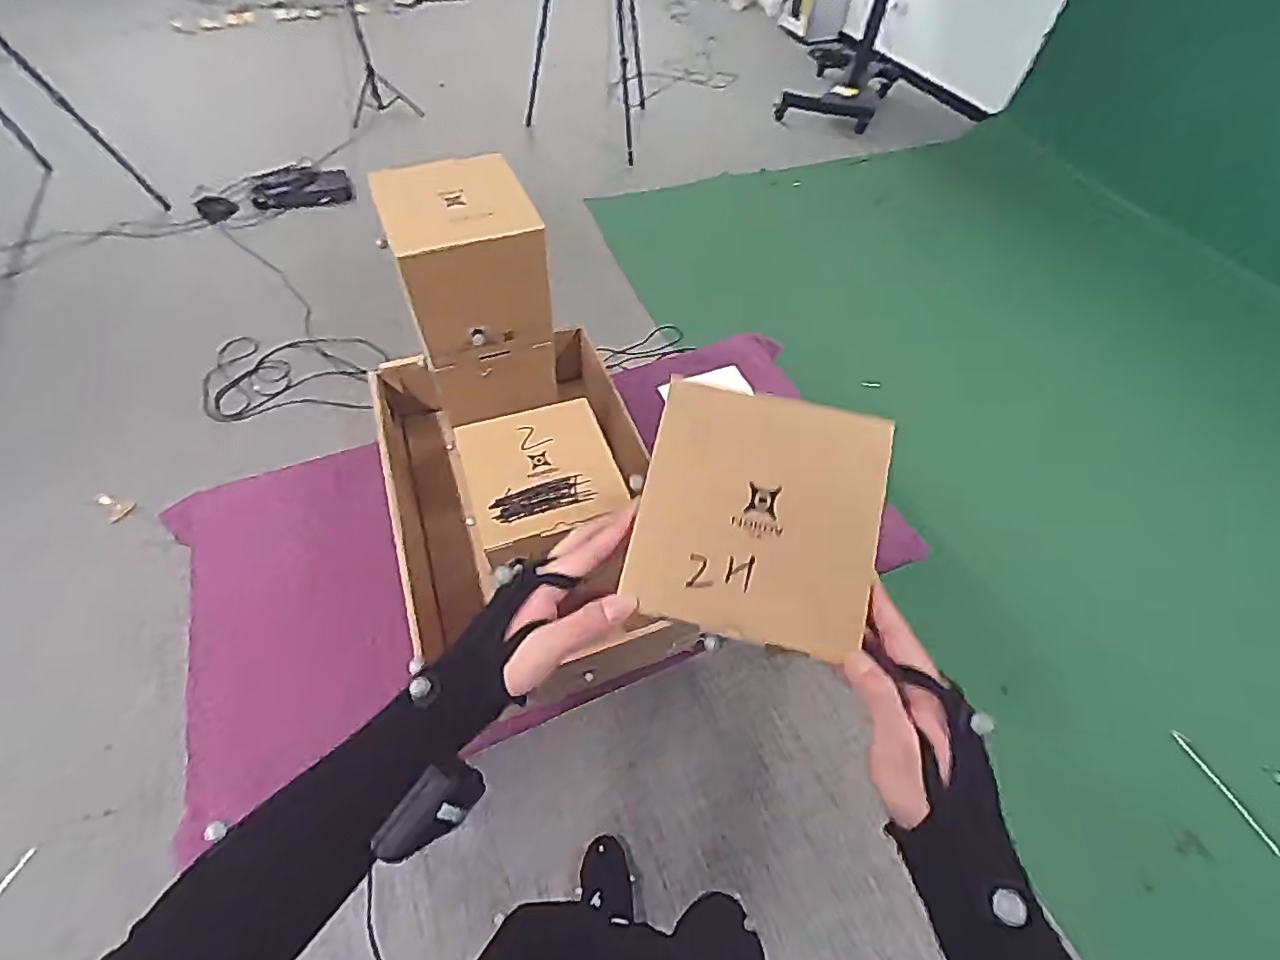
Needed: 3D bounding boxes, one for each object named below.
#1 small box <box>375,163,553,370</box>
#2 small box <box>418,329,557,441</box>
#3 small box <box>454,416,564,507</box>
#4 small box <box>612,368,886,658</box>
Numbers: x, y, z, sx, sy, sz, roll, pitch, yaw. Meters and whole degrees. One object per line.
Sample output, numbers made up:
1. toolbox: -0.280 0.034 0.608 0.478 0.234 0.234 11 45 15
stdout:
1. small box: -0.218 -0.271 0.694 0.168 0.176 0.179 -18 60 -16
2. small box: -0.232 -0.180 0.827 0.168 0.176 0.179 -18 59 -17
3. small box: -0.240 -0.081 0.958 0.168 0.176 0.179 -18 60 -16
4. small box: 0.081 0.035 0.454 0.168 0.176 0.179 13 77 6
